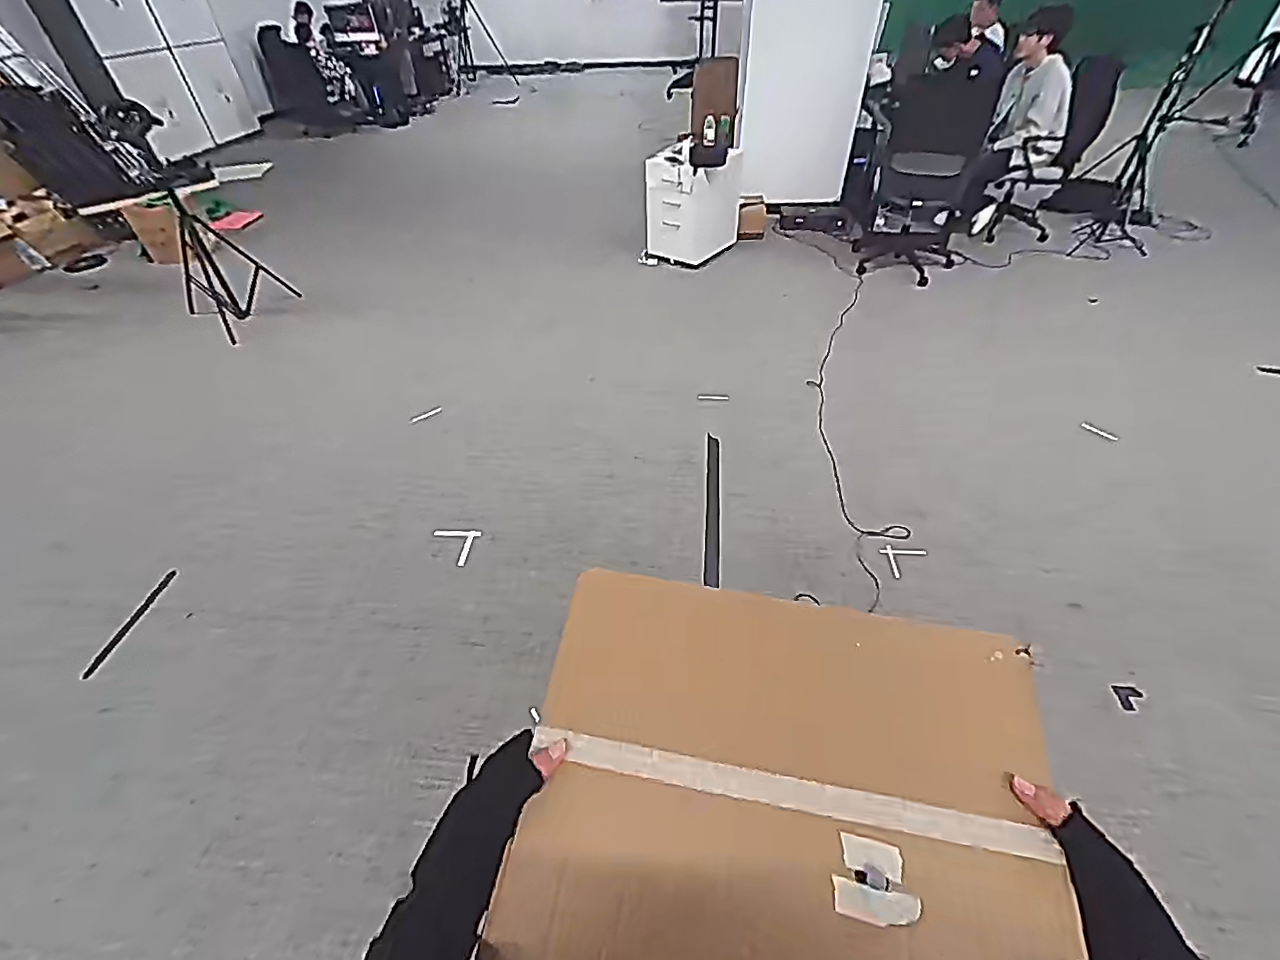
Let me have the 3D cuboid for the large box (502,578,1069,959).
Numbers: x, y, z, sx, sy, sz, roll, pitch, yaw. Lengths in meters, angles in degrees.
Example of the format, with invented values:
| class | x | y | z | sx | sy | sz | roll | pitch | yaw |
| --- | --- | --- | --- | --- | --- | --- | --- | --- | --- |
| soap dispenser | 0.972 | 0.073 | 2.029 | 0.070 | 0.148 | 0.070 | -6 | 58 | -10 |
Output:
| class | x | y | z | sx | sy | sz | roll | pitch | yaw |
| --- | --- | --- | --- | --- | --- | --- | --- | --- | --- |
| large box | 0.124 | 0.329 | 0.567 | 0.408 | 0.320 | 0.320 | 8 | 59 | 8 |
